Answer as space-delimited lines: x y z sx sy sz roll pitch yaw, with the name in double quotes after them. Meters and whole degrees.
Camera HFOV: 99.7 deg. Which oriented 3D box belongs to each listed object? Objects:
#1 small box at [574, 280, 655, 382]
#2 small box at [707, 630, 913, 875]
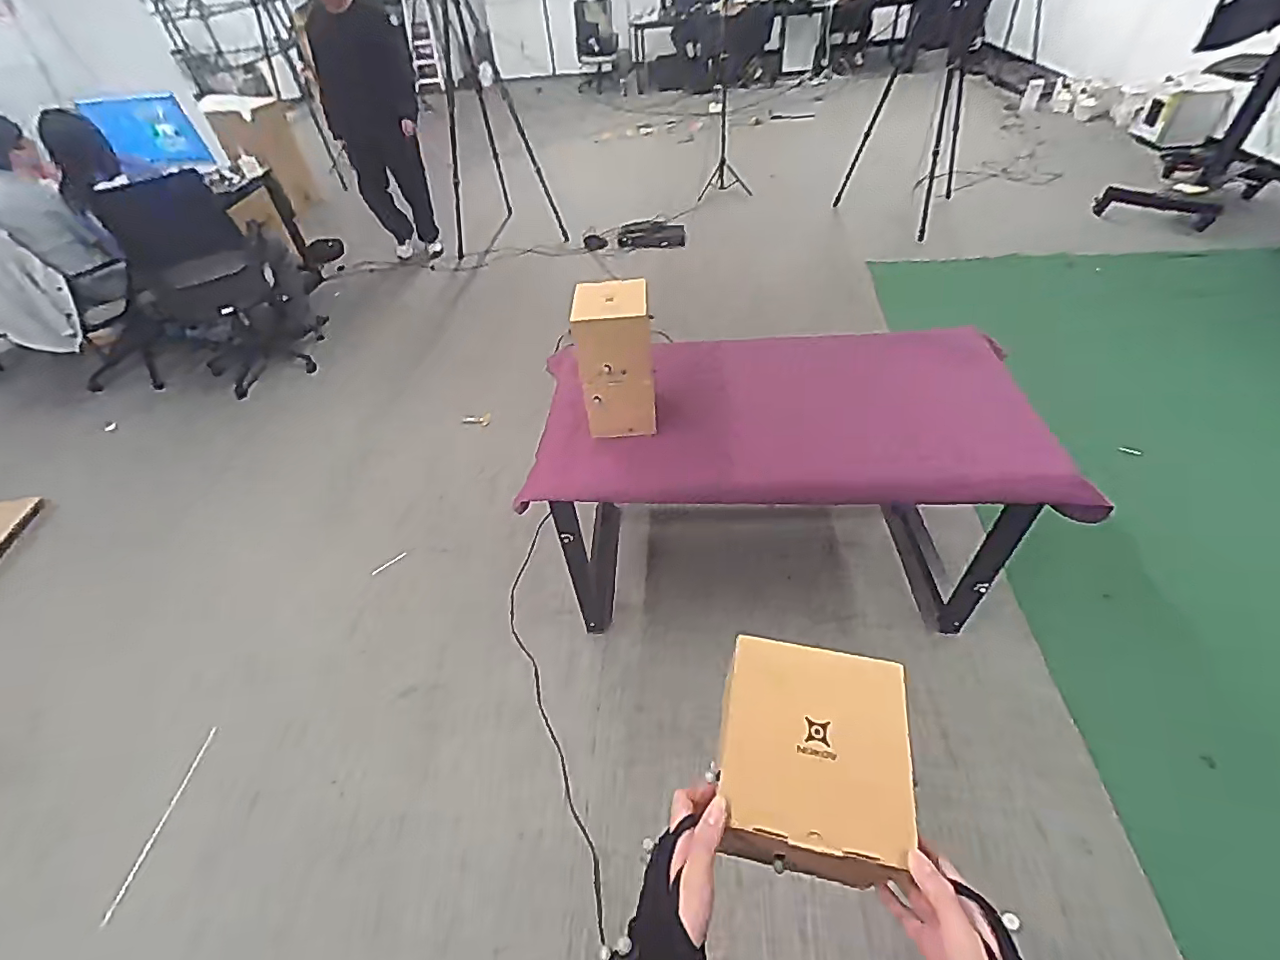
-0.053 -0.347 1.261 0.168 0.176 0.179 -2 46 4 "small box"
0.164 0.286 0.566 0.168 0.176 0.179 8 52 9 "small box"
